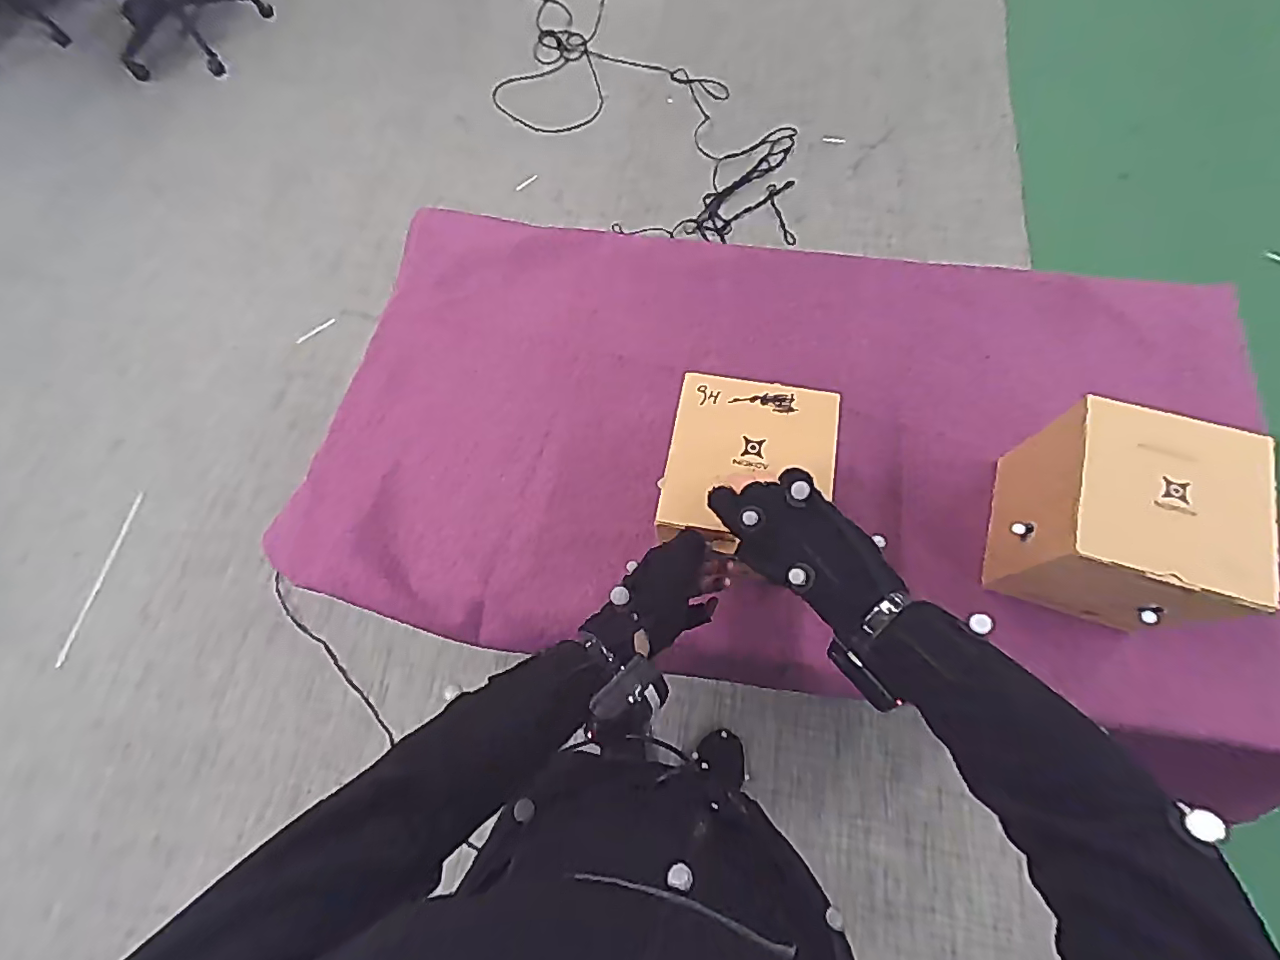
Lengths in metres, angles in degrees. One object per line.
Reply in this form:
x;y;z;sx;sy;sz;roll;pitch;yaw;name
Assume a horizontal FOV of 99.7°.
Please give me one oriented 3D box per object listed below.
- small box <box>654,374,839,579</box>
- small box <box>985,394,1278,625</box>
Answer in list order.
0.117;0.006;0.620;0.168;0.176;0.179;10;70;8;small box
0.501;0.042;0.576;0.168;0.176;0.179;17;71;11;small box
